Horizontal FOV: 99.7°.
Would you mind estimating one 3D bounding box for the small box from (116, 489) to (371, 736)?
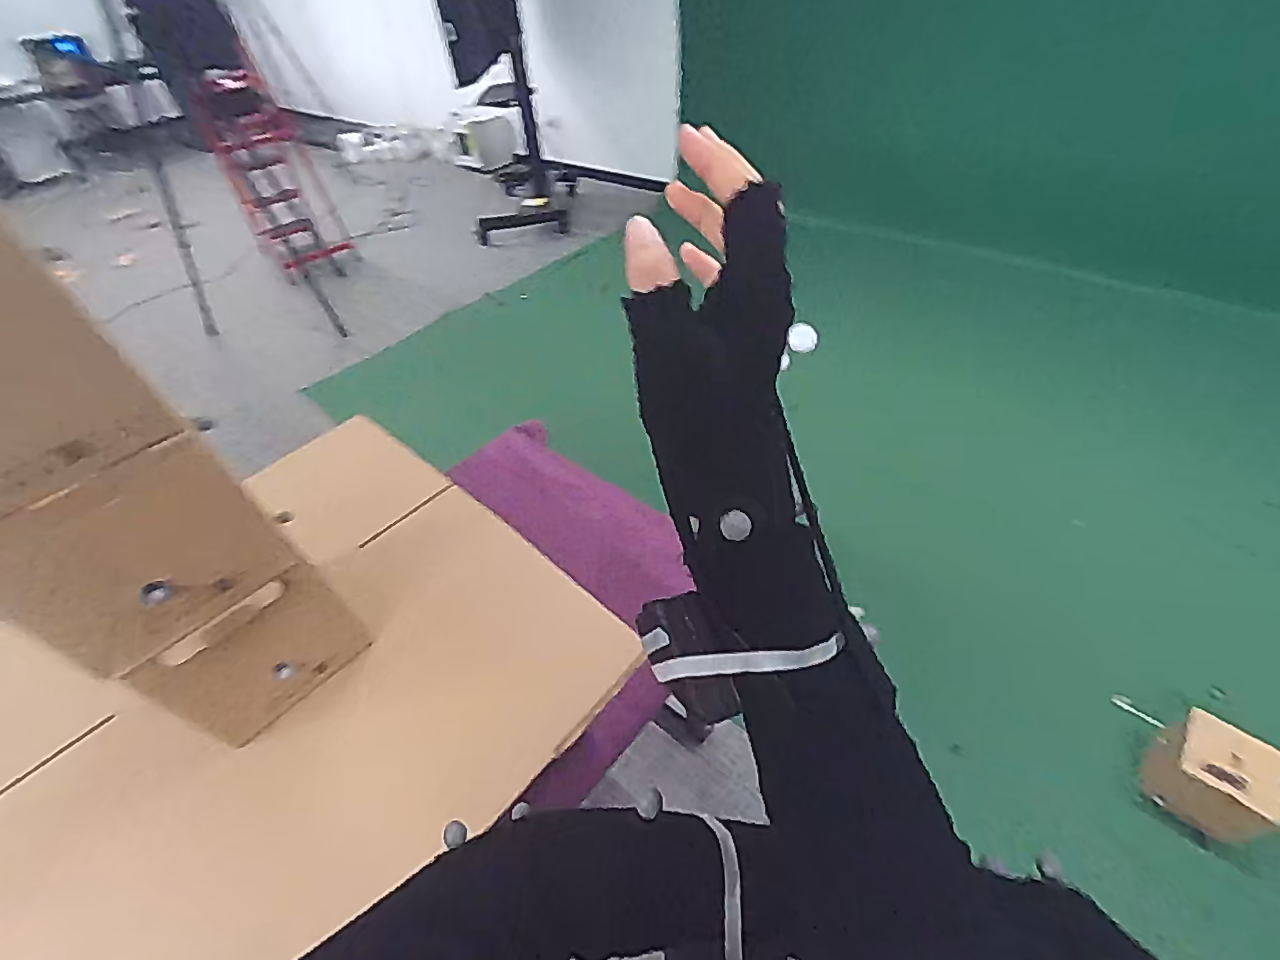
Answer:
[{"bbox_3d":[-0.441,0.143,0.598,0.179,0.176,0.168,30,56,31],"label":"small box"}]

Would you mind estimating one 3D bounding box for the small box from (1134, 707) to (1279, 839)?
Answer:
[{"bbox_3d":[1.263,0.659,1.211,0.168,0.176,0.179,32,55,30],"label":"small box"}]

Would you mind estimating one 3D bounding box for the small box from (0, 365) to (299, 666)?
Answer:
[{"bbox_3d":[-0.454,0.029,0.482,0.179,0.176,0.168,30,55,31],"label":"small box"}]
